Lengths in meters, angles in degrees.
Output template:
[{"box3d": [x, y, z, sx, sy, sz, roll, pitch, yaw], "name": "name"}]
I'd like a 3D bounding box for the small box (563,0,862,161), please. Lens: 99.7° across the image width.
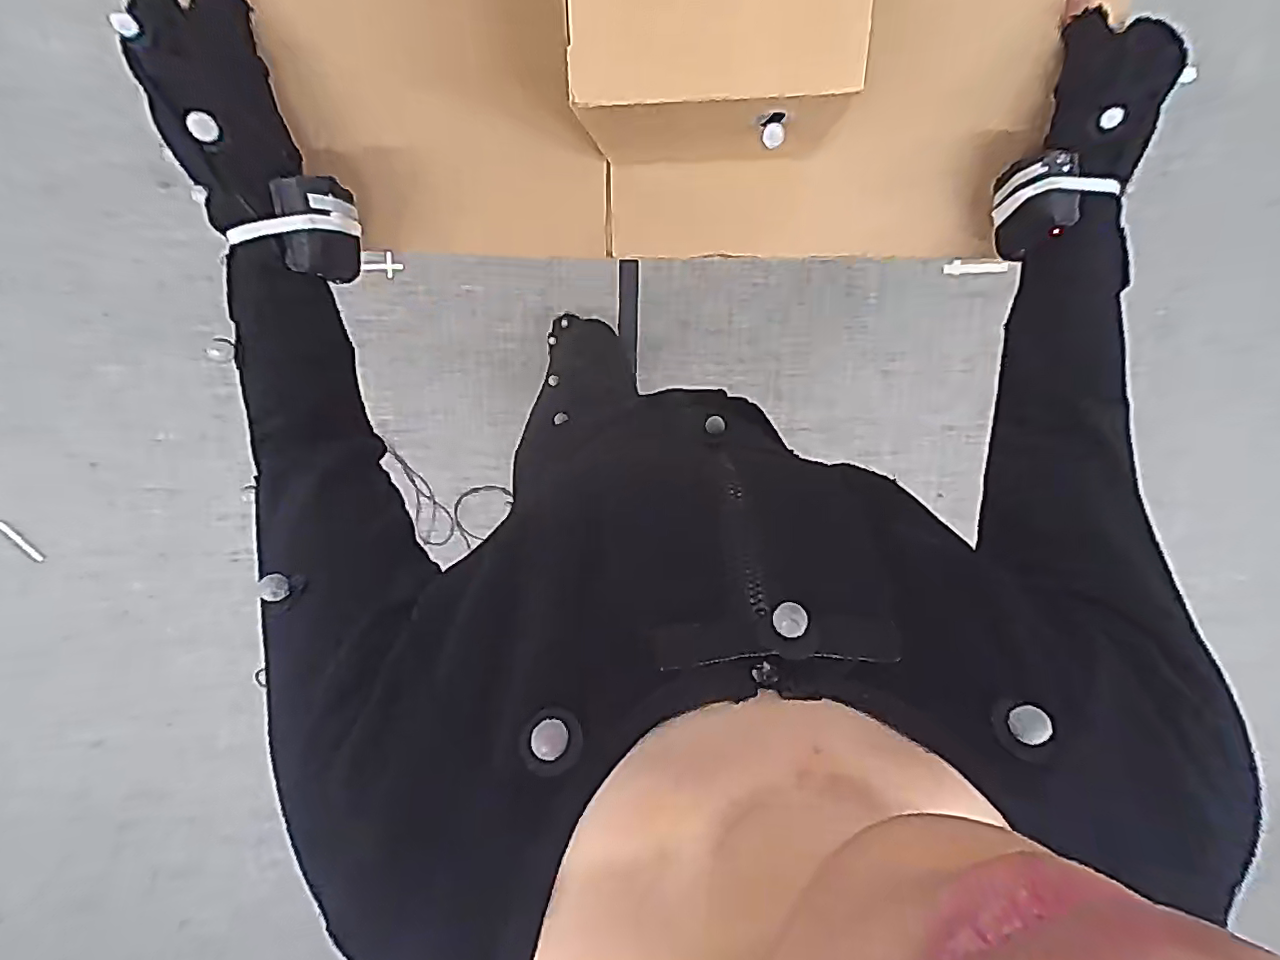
[{"box3d": [0.049, -0.336, 0.379, 0.179, 0.176, 0.168, 2, 108, 7], "name": "small box"}]
